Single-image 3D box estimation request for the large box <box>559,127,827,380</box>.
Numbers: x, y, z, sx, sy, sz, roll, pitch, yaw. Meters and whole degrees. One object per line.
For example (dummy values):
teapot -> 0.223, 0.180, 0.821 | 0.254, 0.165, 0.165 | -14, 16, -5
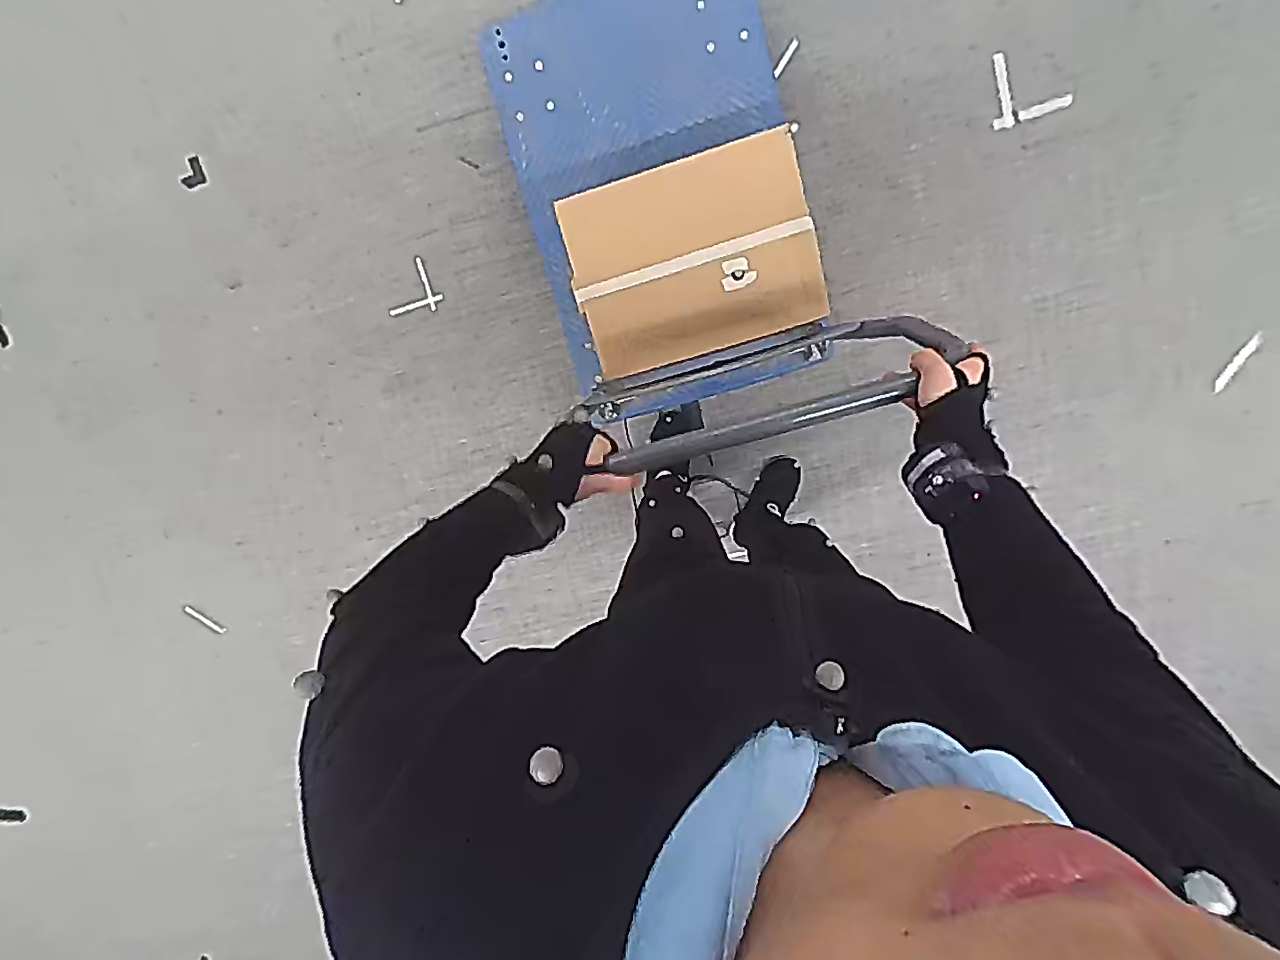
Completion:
large box -> 0.099, -0.405, 1.070 | 0.408, 0.320, 0.320 | -16, 101, 6
